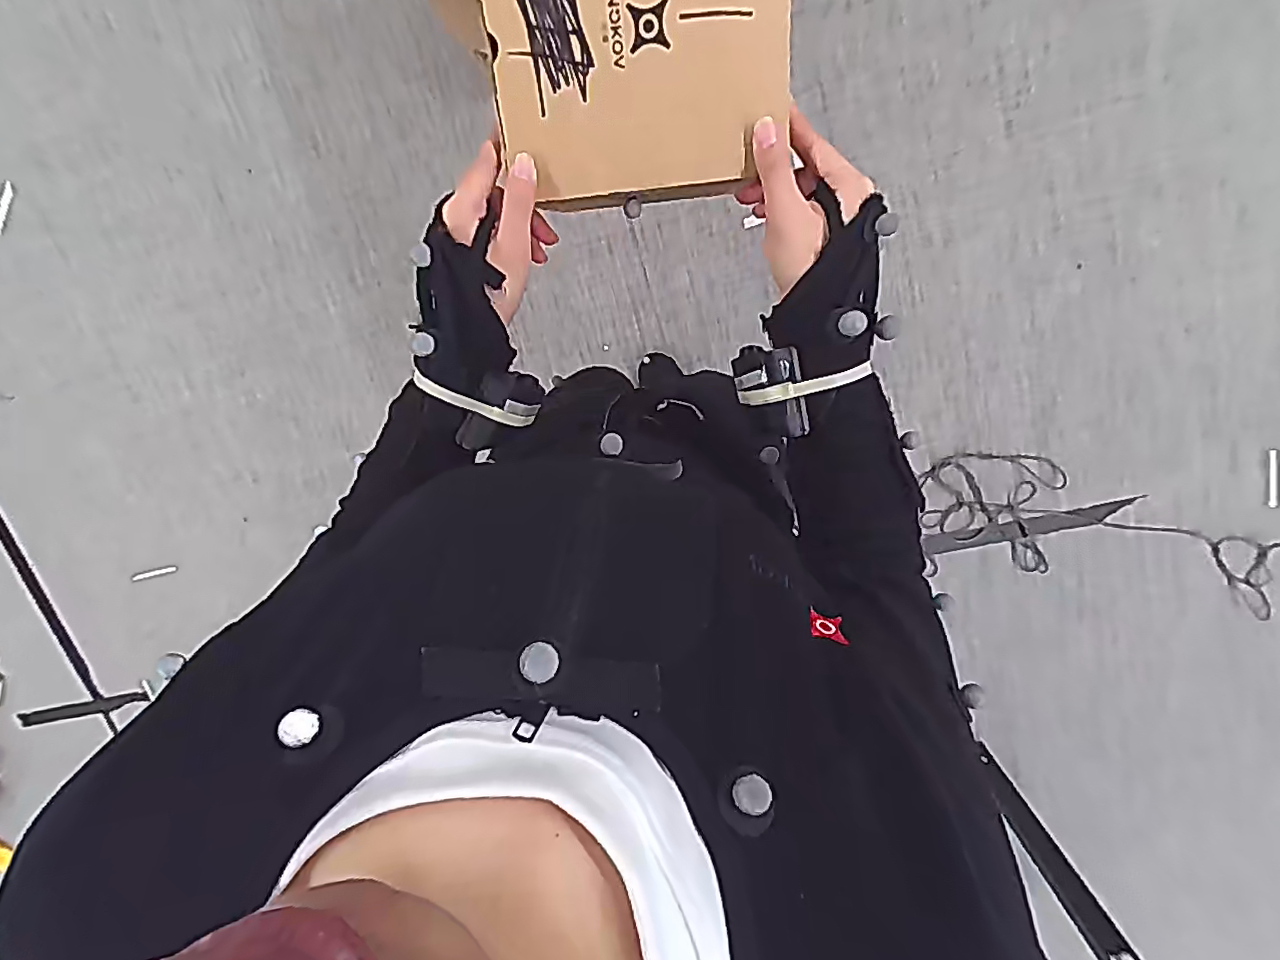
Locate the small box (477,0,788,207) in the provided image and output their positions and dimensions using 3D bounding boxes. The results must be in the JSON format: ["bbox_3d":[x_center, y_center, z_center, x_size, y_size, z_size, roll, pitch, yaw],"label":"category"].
[{"bbox_3d":[0.000,-0.291,0.375,0.179,0.176,0.168,-4,114,5],"label":"small box"}]
